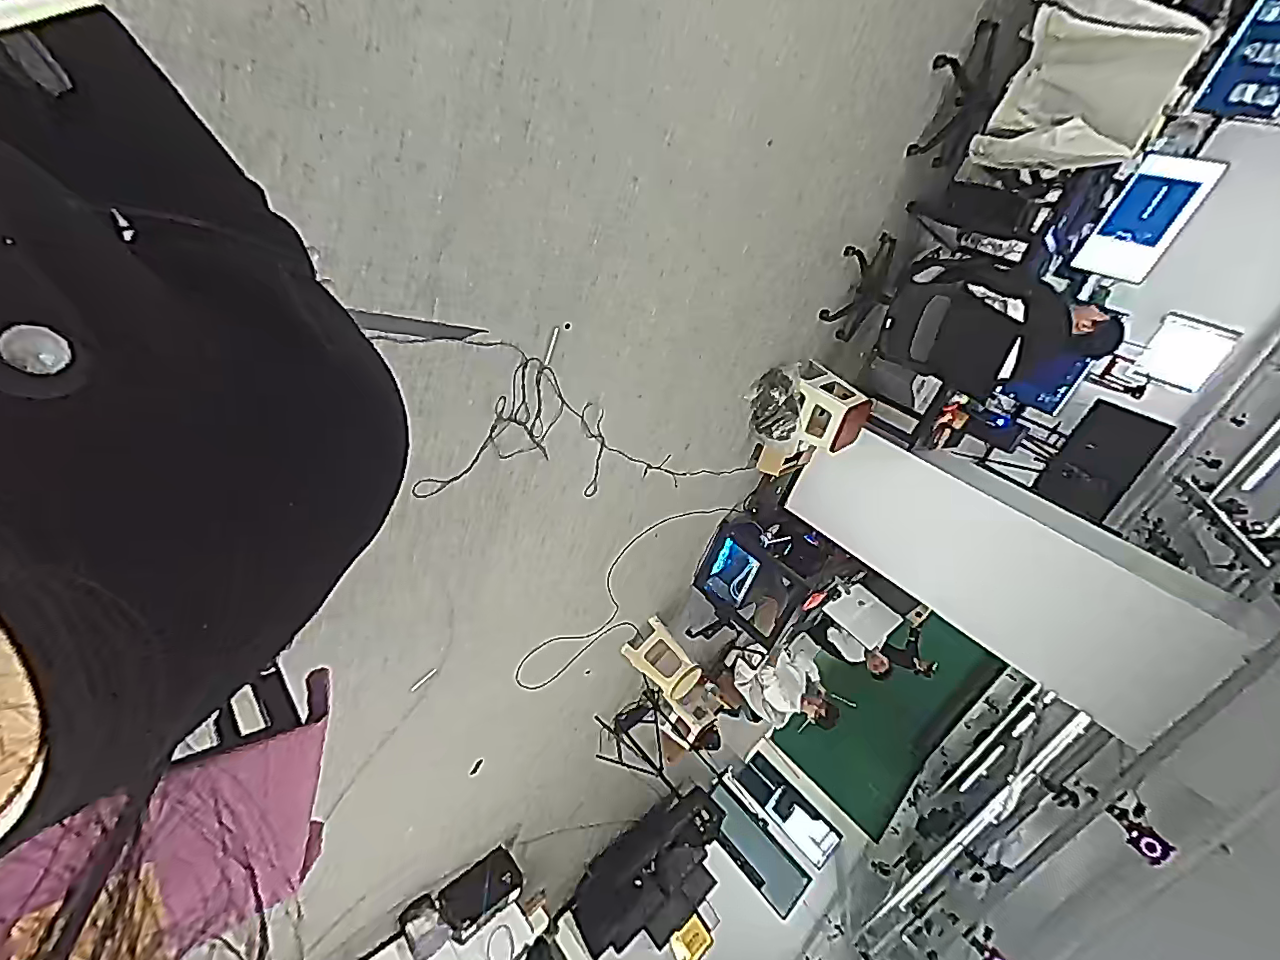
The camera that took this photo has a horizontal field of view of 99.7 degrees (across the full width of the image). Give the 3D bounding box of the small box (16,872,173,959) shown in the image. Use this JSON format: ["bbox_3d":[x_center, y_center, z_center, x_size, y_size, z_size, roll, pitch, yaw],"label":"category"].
[{"bbox_3d":[-0.906,0.805,0.900,0.168,0.176,0.179,-6,126,-49],"label":"small box"}]
